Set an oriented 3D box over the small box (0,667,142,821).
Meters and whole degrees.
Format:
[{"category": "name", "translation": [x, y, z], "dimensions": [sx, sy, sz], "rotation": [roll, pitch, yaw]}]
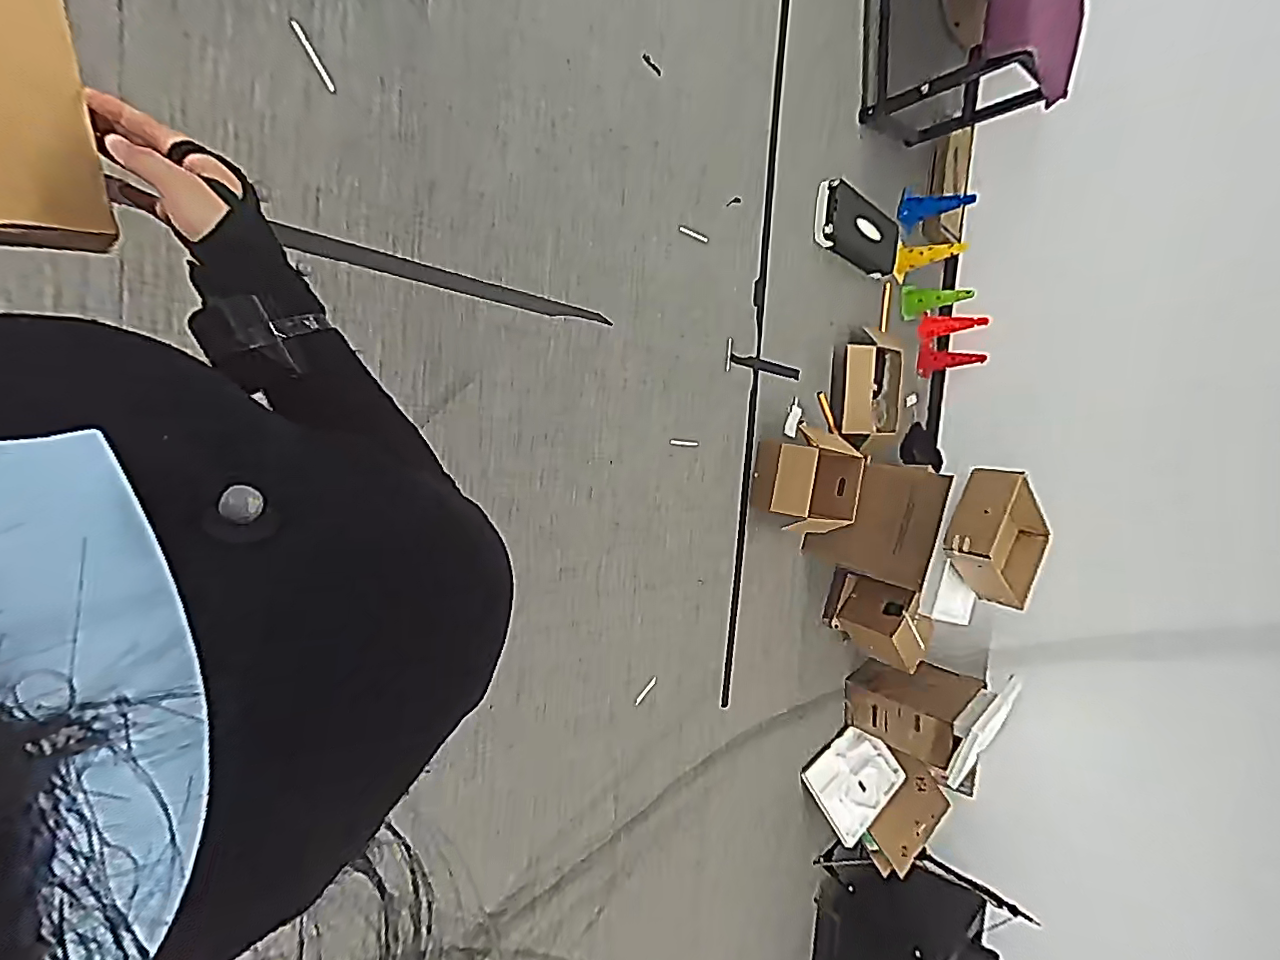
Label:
[{"category": "small box", "translation": [-1.091, 0.497, 1.045], "dimensions": [0.168, 0.176, 0.179], "rotation": [-15, 106, -40]}]
